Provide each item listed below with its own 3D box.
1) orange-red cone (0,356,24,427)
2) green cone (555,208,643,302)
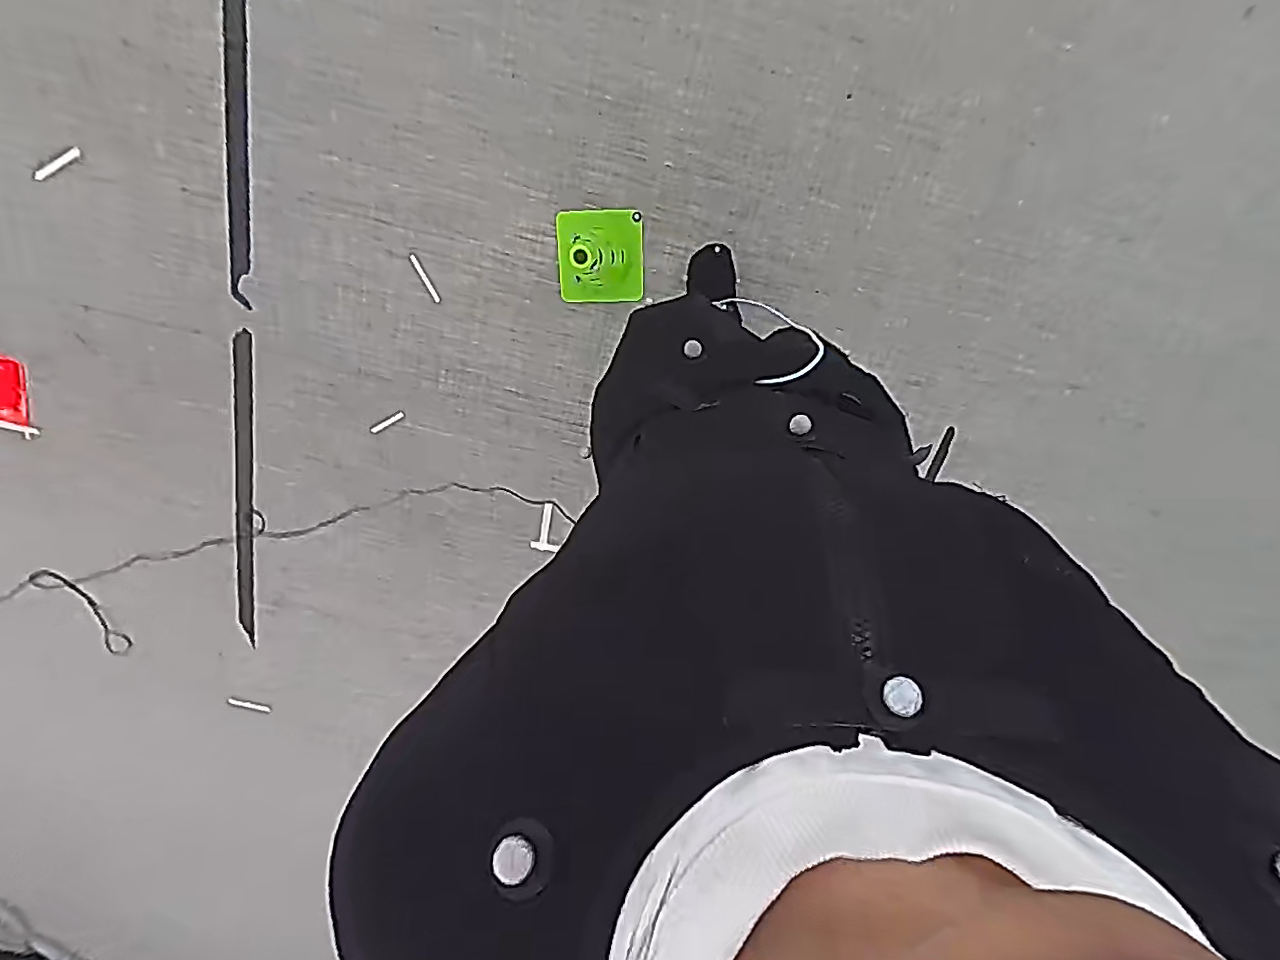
[{"bbox_3d":[-1.762,-0.195,1.290,0.198,0.360,0.199,21,110,-6],"label":"orange-red cone"},{"bbox_3d":[-0.103,-0.455,1.108,0.200,0.368,0.202,0,113,3],"label":"green cone"}]
